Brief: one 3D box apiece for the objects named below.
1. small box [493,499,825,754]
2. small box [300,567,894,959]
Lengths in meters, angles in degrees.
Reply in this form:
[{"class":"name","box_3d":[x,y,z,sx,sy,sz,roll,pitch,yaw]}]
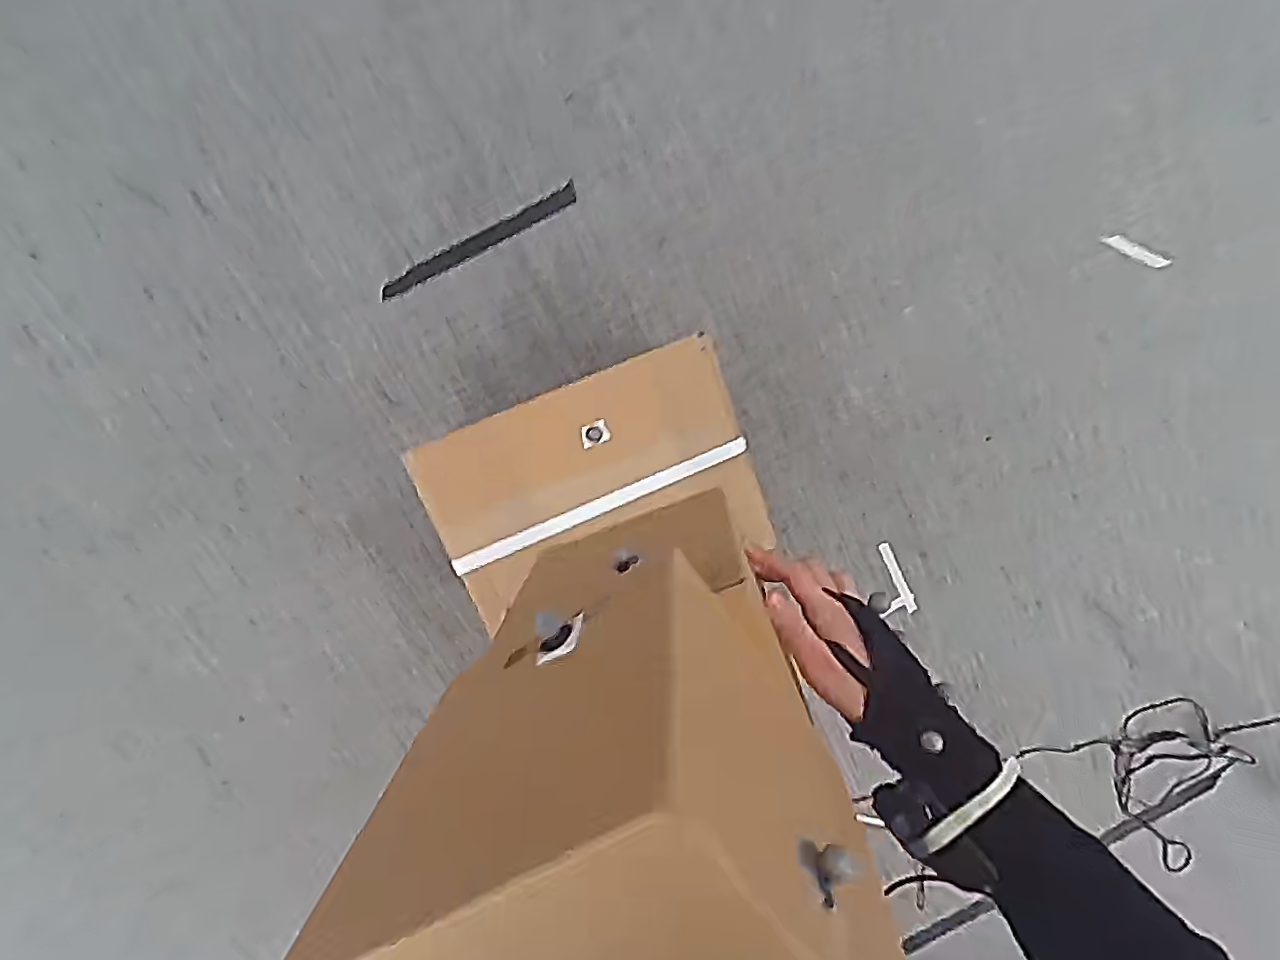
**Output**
[{"class":"small box","box_3d":[0.021,0.136,0.406,0.179,0.176,0.168,-22,105,10]},{"class":"small box","box_3d":[-0.002,0.174,0.249,0.168,0.176,0.179,-35,101,13]}]
